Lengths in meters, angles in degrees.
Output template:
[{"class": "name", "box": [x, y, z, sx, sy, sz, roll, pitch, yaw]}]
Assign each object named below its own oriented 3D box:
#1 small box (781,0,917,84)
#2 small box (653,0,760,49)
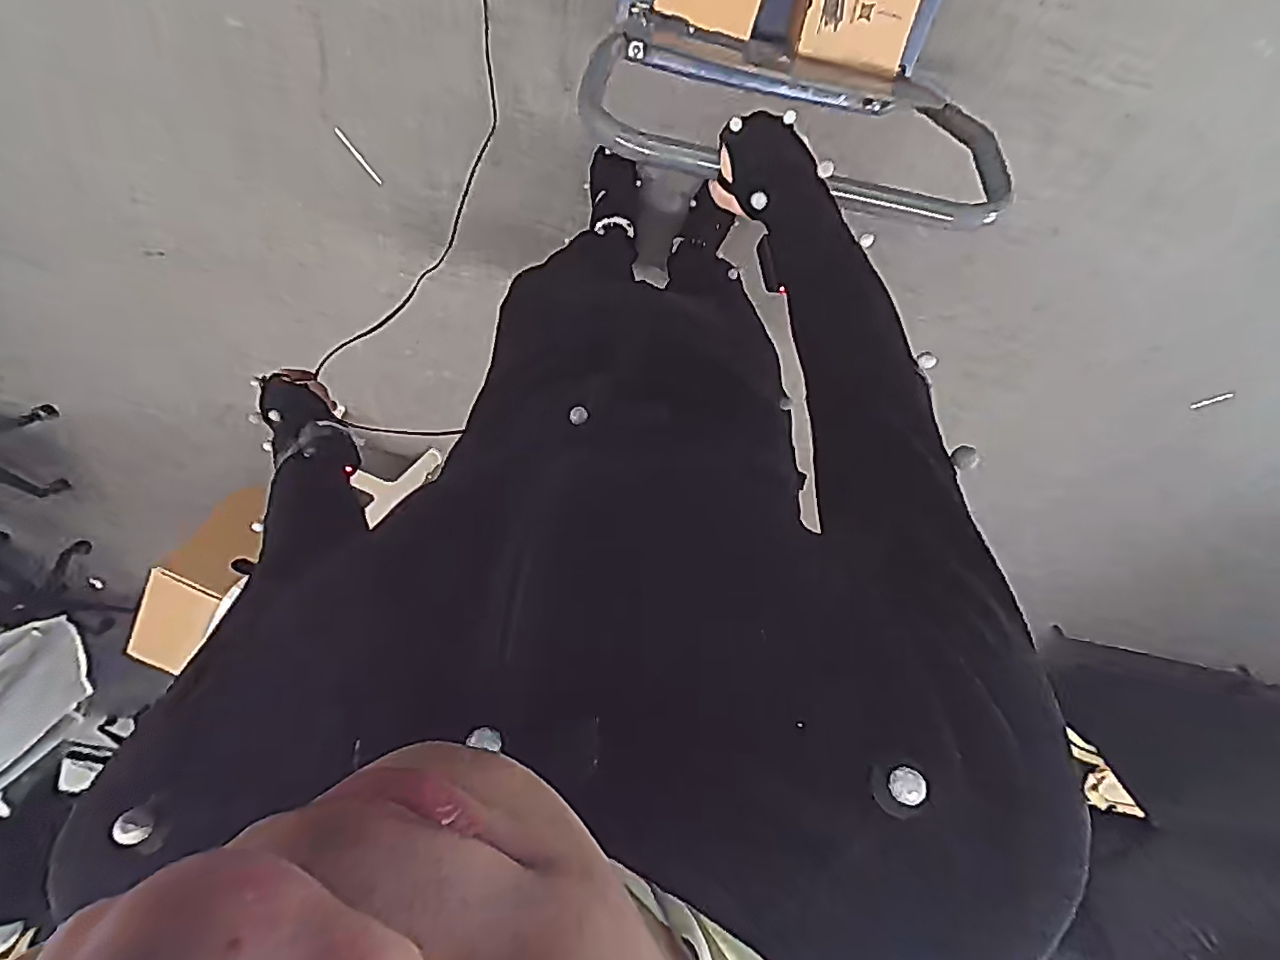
[{"class": "small box", "box": [0.352, -0.795, 0.923, 0.179, 0.176, 0.168, 7, 131, -1]}, {"class": "small box", "box": [0.125, -0.855, 0.896, 0.168, 0.176, 0.179, 15, 131, -8]}]
